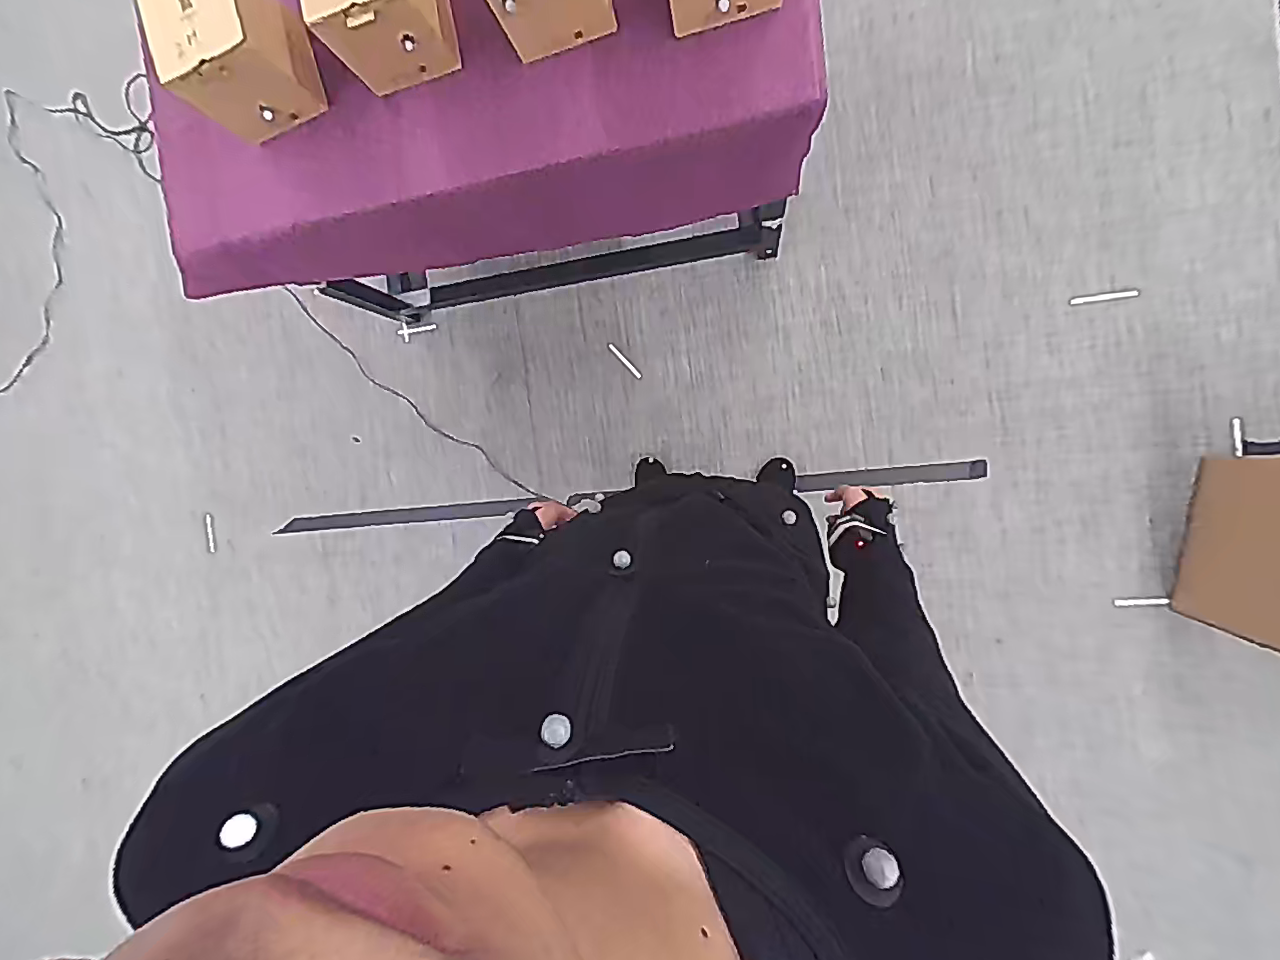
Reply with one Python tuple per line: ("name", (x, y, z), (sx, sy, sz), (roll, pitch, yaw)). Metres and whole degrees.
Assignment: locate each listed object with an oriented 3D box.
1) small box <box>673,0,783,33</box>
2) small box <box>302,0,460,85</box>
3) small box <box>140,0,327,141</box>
("small box", (0.112, -0.780, 0.741), (0.168, 0.176, 0.179), (-8, 93, 12))
("small box", (-0.402, -0.761, 0.844), (0.168, 0.176, 0.179), (-9, 91, 11))
("small box", (-0.664, -0.715, 0.895), (0.168, 0.176, 0.179), (-16, 91, 12))
